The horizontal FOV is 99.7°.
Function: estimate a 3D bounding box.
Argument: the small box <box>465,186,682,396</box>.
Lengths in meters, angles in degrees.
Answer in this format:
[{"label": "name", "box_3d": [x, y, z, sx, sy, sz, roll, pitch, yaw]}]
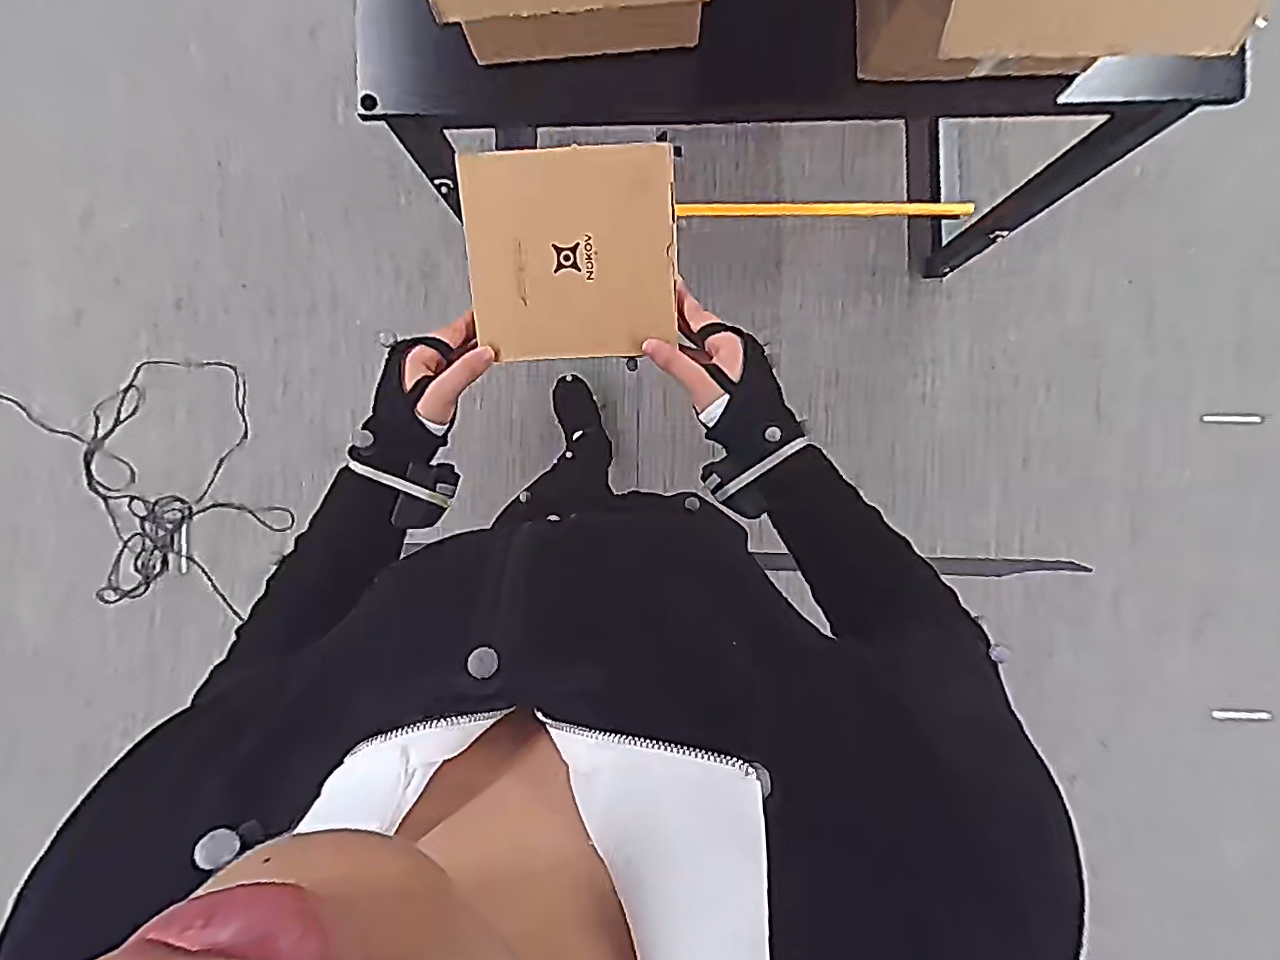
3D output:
[{"label": "small box", "box_3d": [-0.053, -0.176, 0.538, 0.179, 0.176, 0.168, -3, 102, 2]}]
